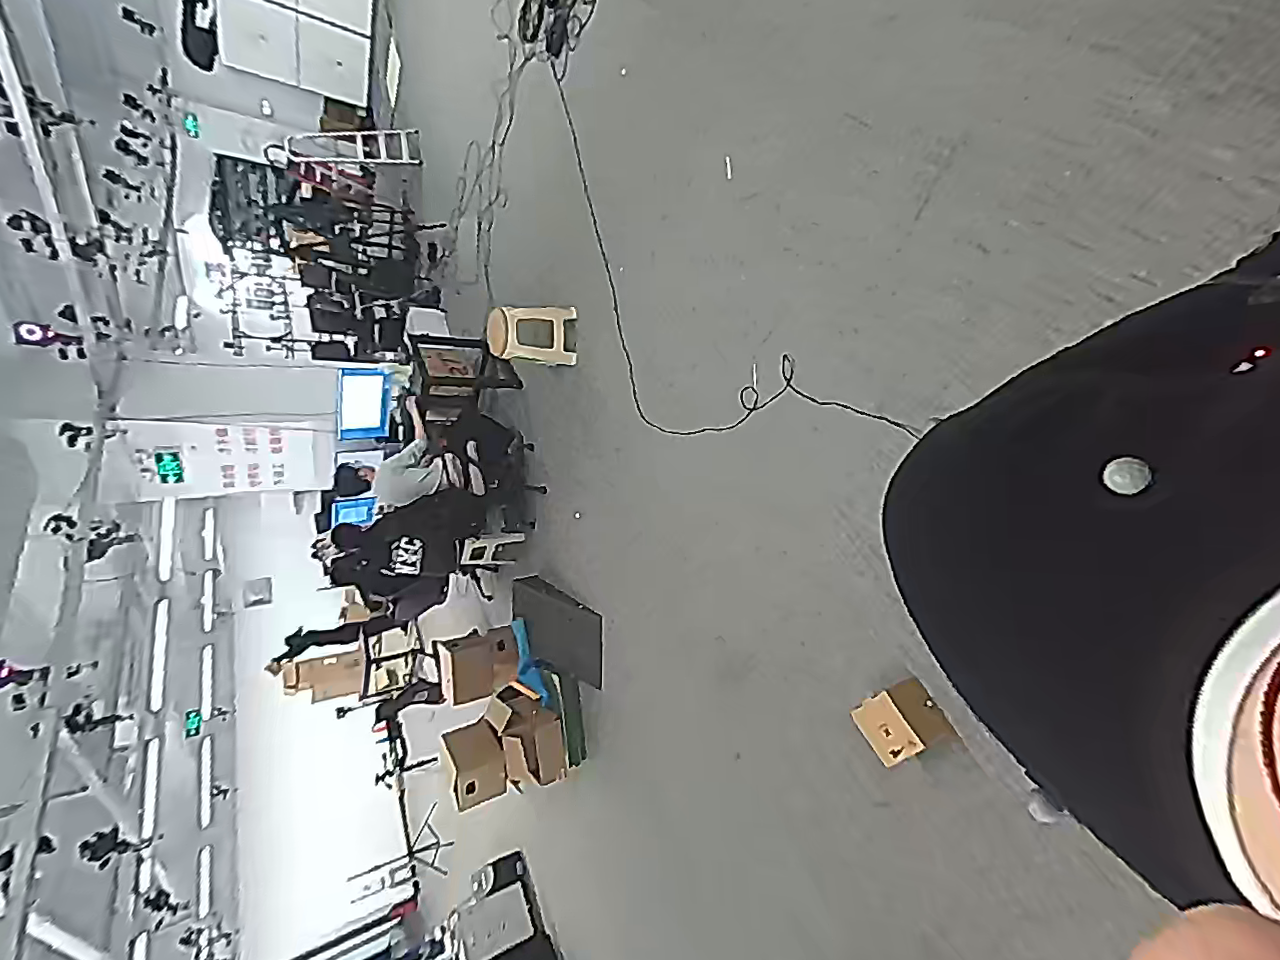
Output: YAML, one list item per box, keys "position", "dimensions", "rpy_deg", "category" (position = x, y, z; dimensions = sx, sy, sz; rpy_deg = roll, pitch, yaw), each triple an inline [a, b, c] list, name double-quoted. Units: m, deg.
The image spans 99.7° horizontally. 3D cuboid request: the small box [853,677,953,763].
- position: [0.801, 0.723, 1.650]
  dimensions: [0.179, 0.176, 0.168]
  rpy_deg: [60, 139, 32]
  category: "small box"
